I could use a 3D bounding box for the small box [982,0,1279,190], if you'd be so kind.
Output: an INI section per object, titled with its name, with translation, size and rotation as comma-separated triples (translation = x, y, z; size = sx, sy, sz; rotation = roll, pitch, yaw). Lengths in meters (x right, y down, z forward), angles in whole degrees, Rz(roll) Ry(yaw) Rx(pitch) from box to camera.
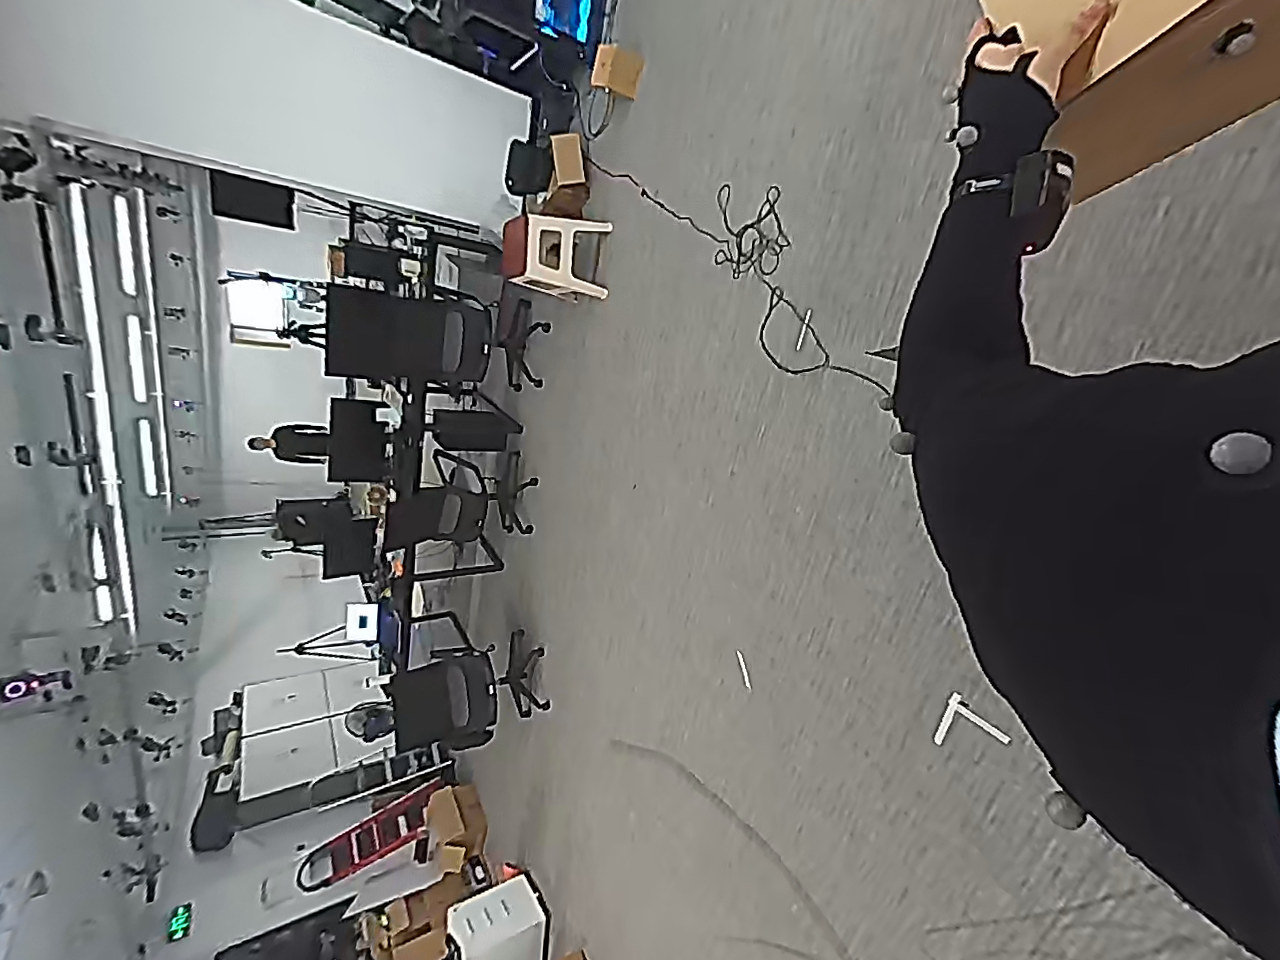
[small box]
translation = 0.445, -0.407, 0.482
size = 0.179, 0.176, 0.168
rotation = -22, 68, 49
